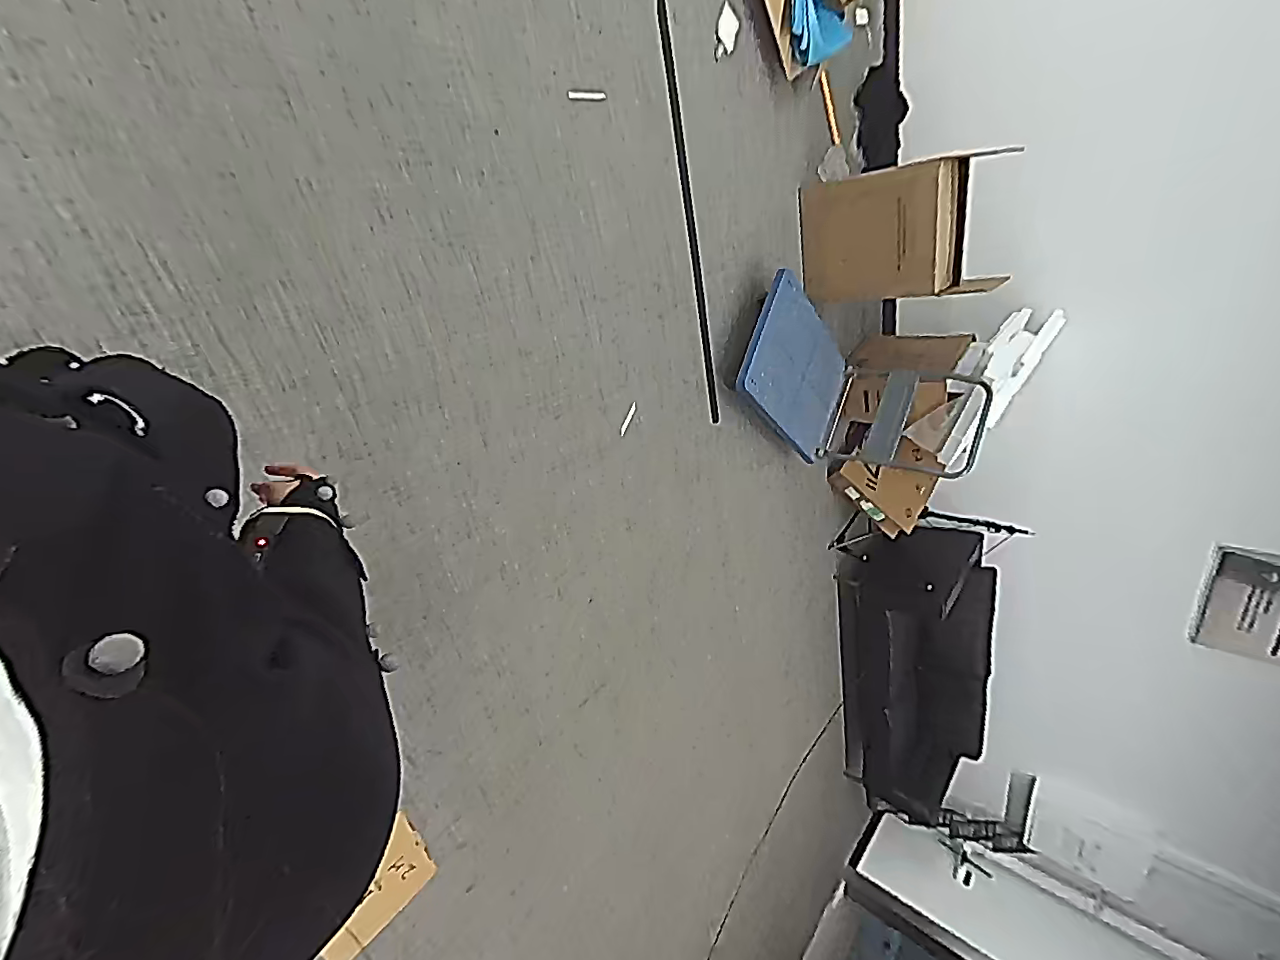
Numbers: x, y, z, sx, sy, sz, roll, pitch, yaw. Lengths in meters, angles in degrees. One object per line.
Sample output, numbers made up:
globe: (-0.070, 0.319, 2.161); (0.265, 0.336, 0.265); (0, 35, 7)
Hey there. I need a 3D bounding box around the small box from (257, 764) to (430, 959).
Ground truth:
small box: (-0.482, 0.610, 0.873); (0.179, 0.176, 0.168); (-34, 122, -41)
